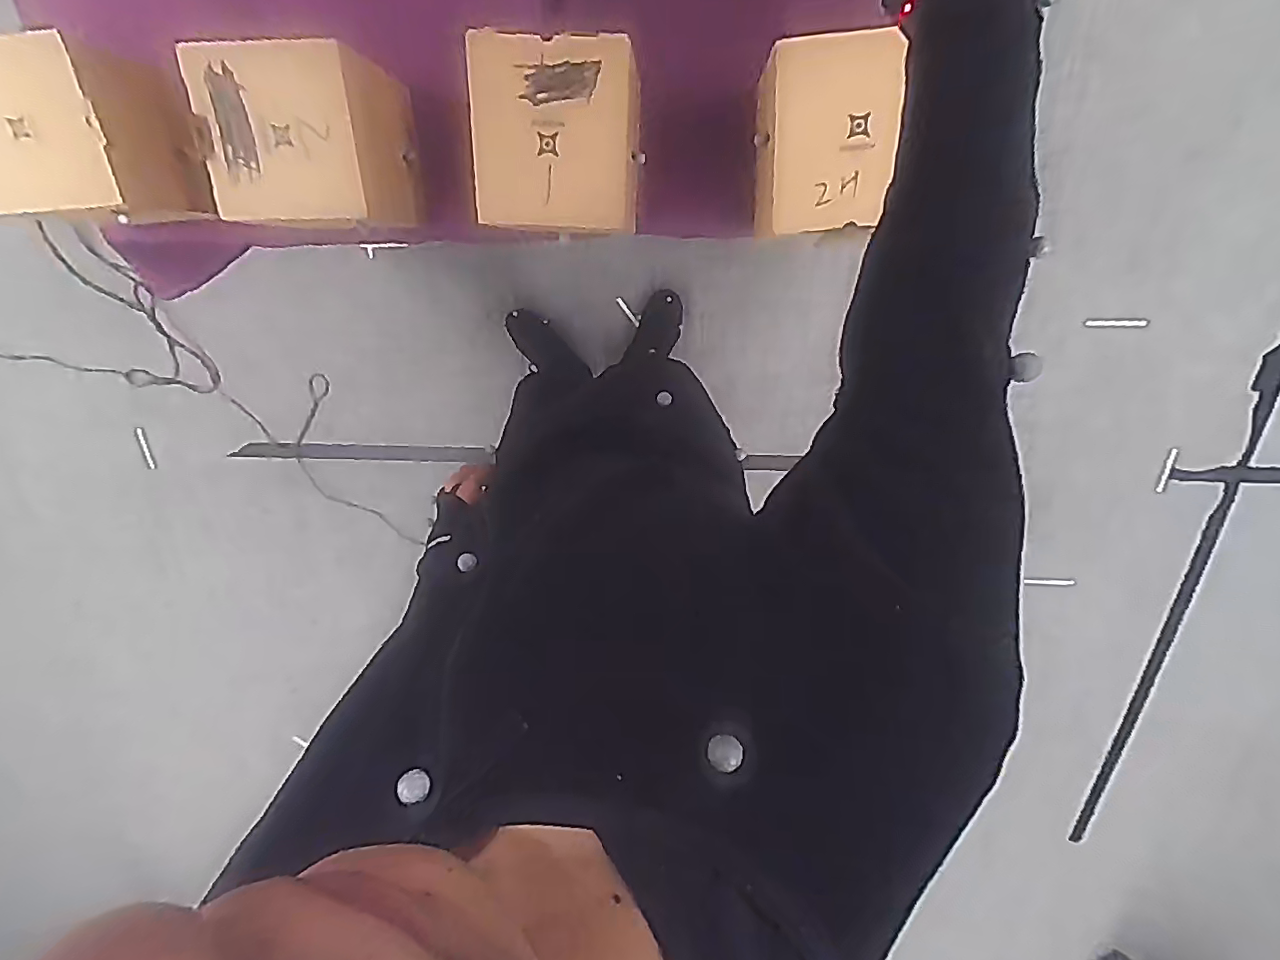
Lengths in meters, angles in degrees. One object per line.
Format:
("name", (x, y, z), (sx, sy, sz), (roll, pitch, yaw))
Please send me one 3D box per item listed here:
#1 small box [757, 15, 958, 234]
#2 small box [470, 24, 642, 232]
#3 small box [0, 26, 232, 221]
("small box", (0.226, -0.382, 0.615), (0.168, 0.176, 0.179), (-1, 113, 6))
("small box", (-0.086, -0.394, 0.634), (0.168, 0.176, 0.179), (4, 114, 3))
("small box", (-0.666, -0.419, 0.666), (0.179, 0.176, 0.168), (-3, 113, 4))
